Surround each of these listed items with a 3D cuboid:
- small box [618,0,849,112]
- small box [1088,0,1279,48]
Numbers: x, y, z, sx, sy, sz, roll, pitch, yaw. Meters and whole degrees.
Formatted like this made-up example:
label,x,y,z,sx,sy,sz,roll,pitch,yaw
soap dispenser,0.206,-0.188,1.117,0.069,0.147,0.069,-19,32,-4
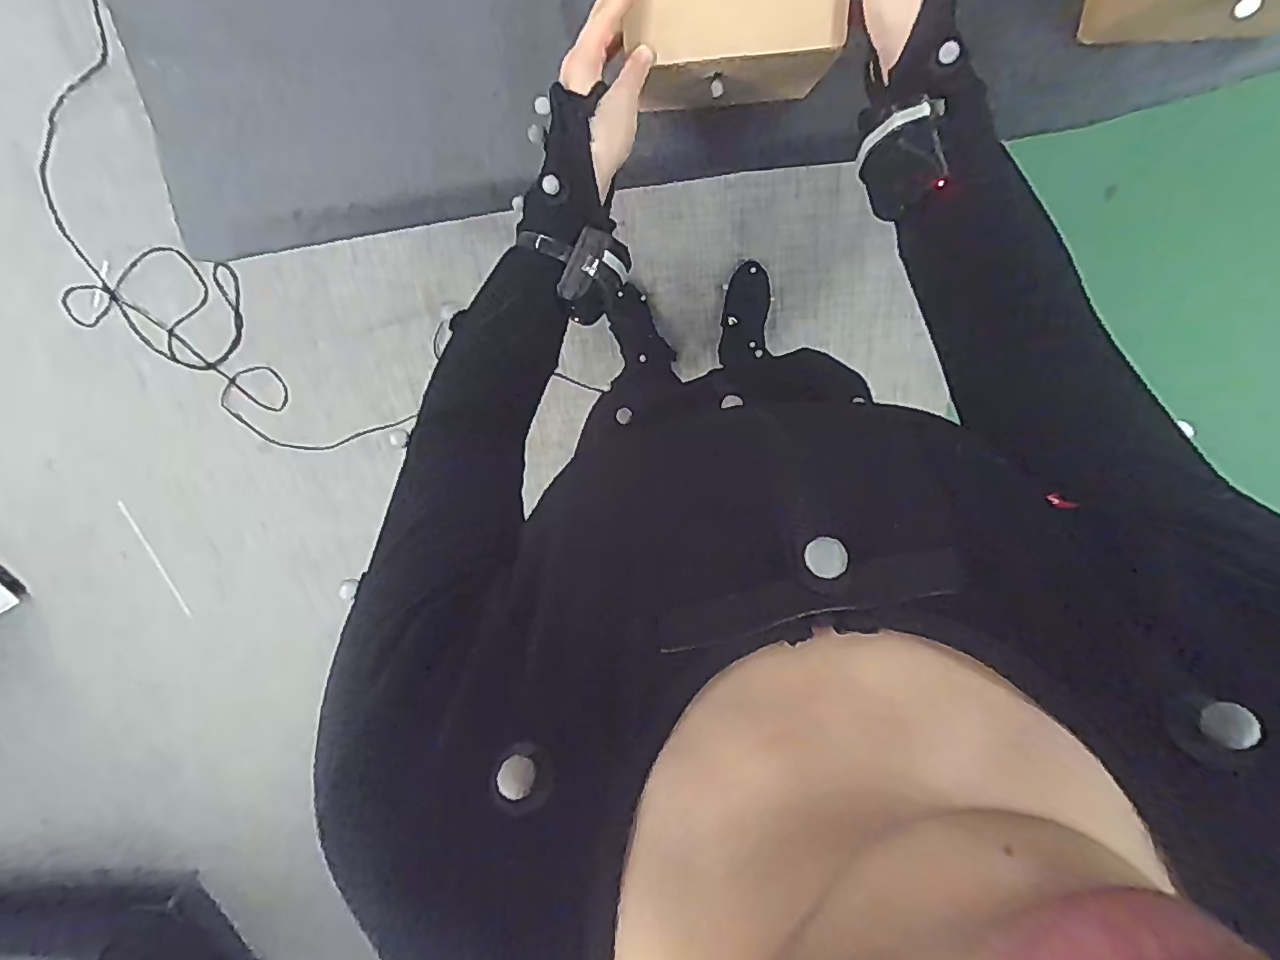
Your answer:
label,x,y,z,sx,sy,sz,roll,pitch,yaw
small box,0.075,-0.432,0.465,0.179,0.176,0.168,-1,115,6
small box,0.501,-0.459,0.412,0.179,0.176,0.168,1,112,5
